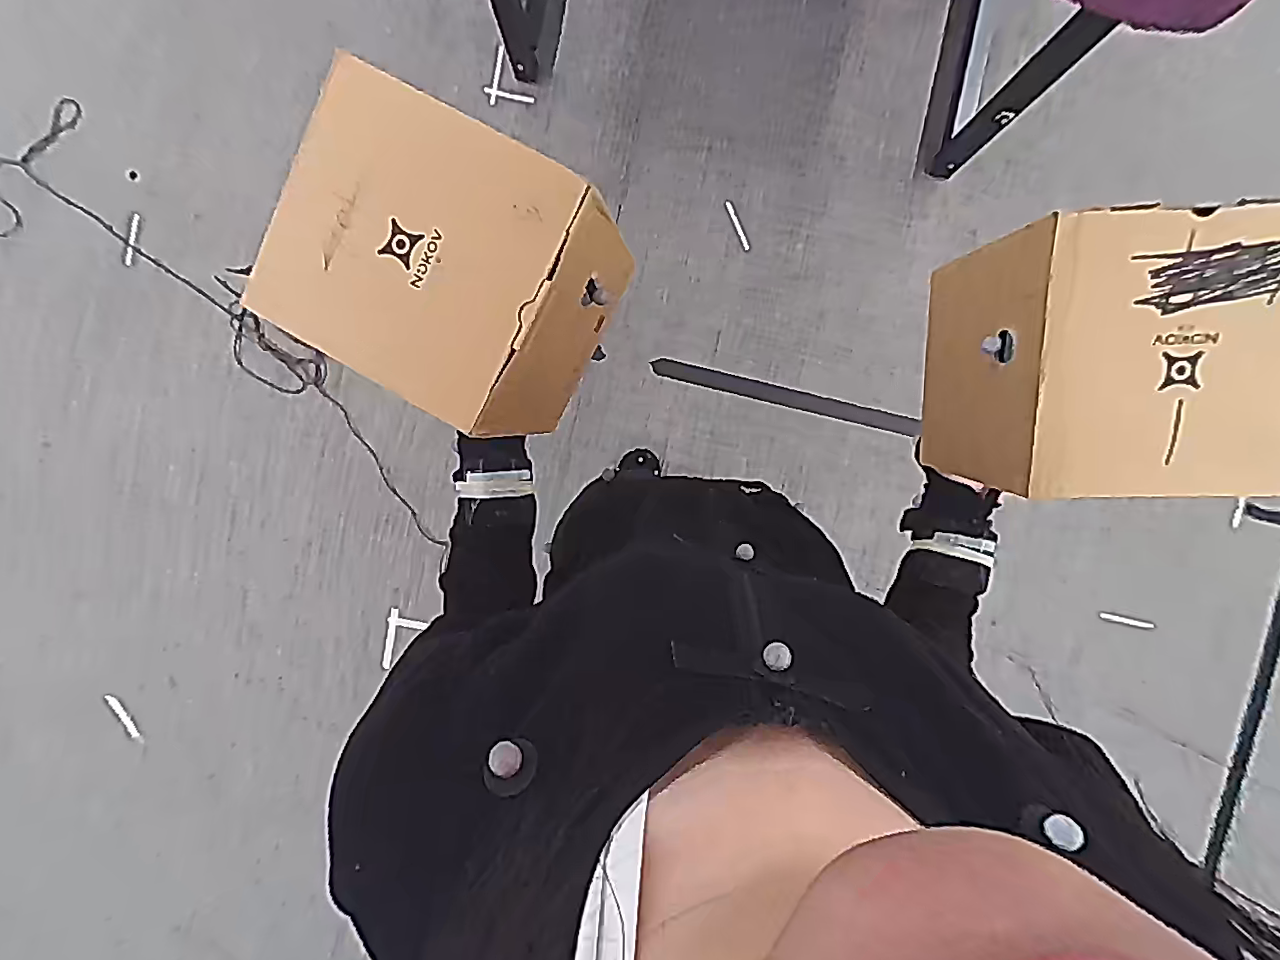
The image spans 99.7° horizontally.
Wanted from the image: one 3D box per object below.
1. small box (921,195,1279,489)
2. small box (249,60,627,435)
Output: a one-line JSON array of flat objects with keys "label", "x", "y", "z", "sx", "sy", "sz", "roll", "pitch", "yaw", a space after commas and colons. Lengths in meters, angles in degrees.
[{"label": "small box", "x": 0.333, "y": -0.092, "z": 0.410, "sx": 0.168, "sy": 0.176, "sz": 0.179, "roll": -1, "pitch": 100, "yaw": 5}, {"label": "small box", "x": -0.126, "y": -0.147, "z": 0.405, "sx": 0.179, "sy": 0.176, "sz": 0.168, "roll": 29, "pitch": 98, "yaw": 5}]
